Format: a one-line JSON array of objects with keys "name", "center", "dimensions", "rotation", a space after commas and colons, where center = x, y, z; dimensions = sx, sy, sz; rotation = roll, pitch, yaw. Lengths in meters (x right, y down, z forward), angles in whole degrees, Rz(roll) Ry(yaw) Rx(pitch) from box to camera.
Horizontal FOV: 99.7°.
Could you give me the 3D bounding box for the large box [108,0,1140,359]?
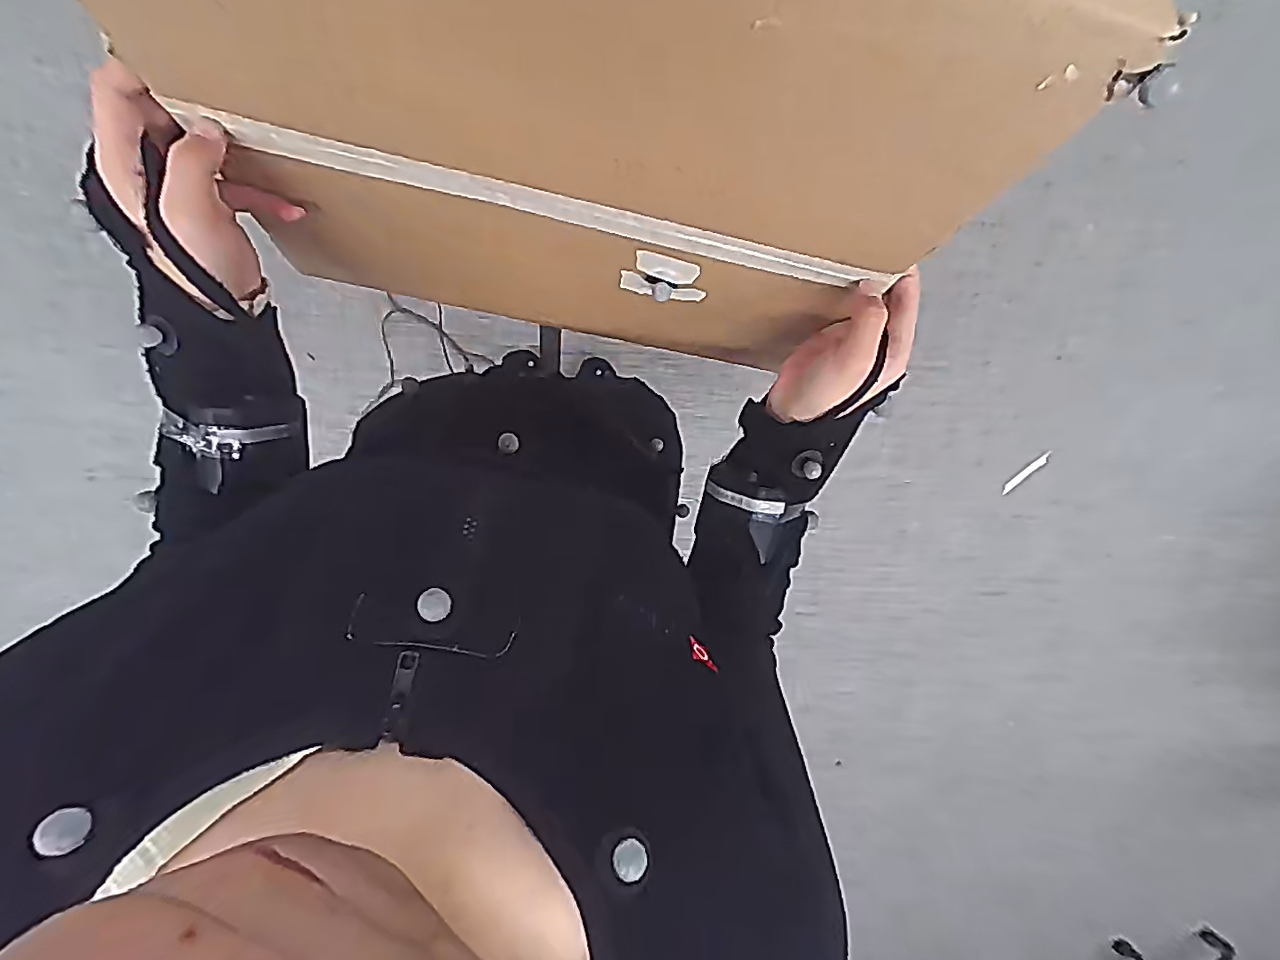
[{"name": "large box", "center": [-0.024, -0.309, 0.339], "dimensions": [0.408, 0.320, 0.320], "rotation": [8, 80, -9]}]
